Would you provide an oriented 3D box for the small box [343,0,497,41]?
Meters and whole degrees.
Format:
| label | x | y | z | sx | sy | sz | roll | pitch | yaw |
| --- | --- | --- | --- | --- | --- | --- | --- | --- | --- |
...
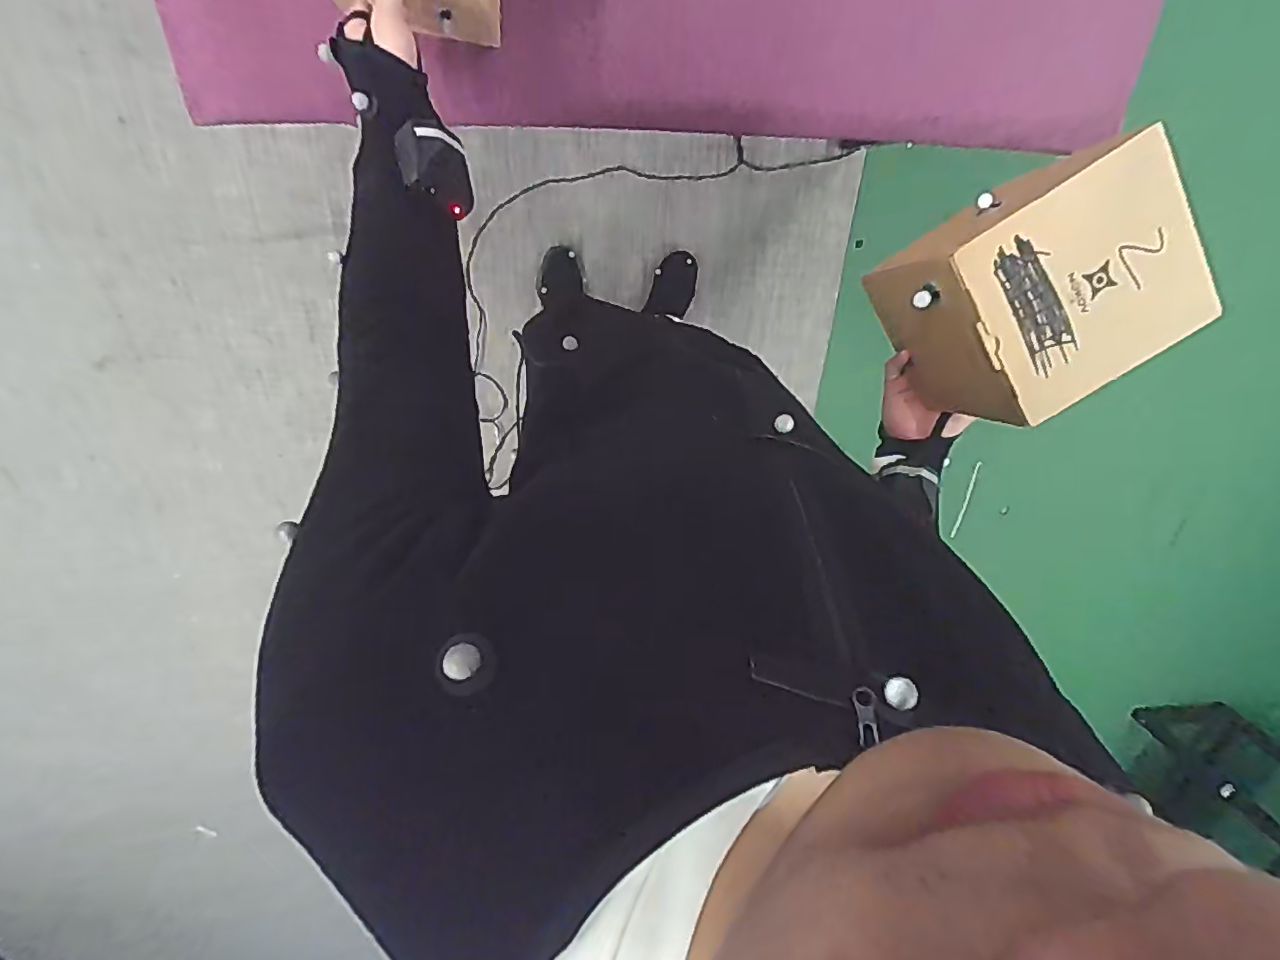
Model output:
| label | x | y | z | sx | sy | sz | roll | pitch | yaw |
| --- | --- | --- | --- | --- | --- | --- | --- | --- | --- |
| small box | -0.223 | -0.553 | 0.507 | 0.168 | 0.176 | 0.179 | 3 | 114 | -12 |
